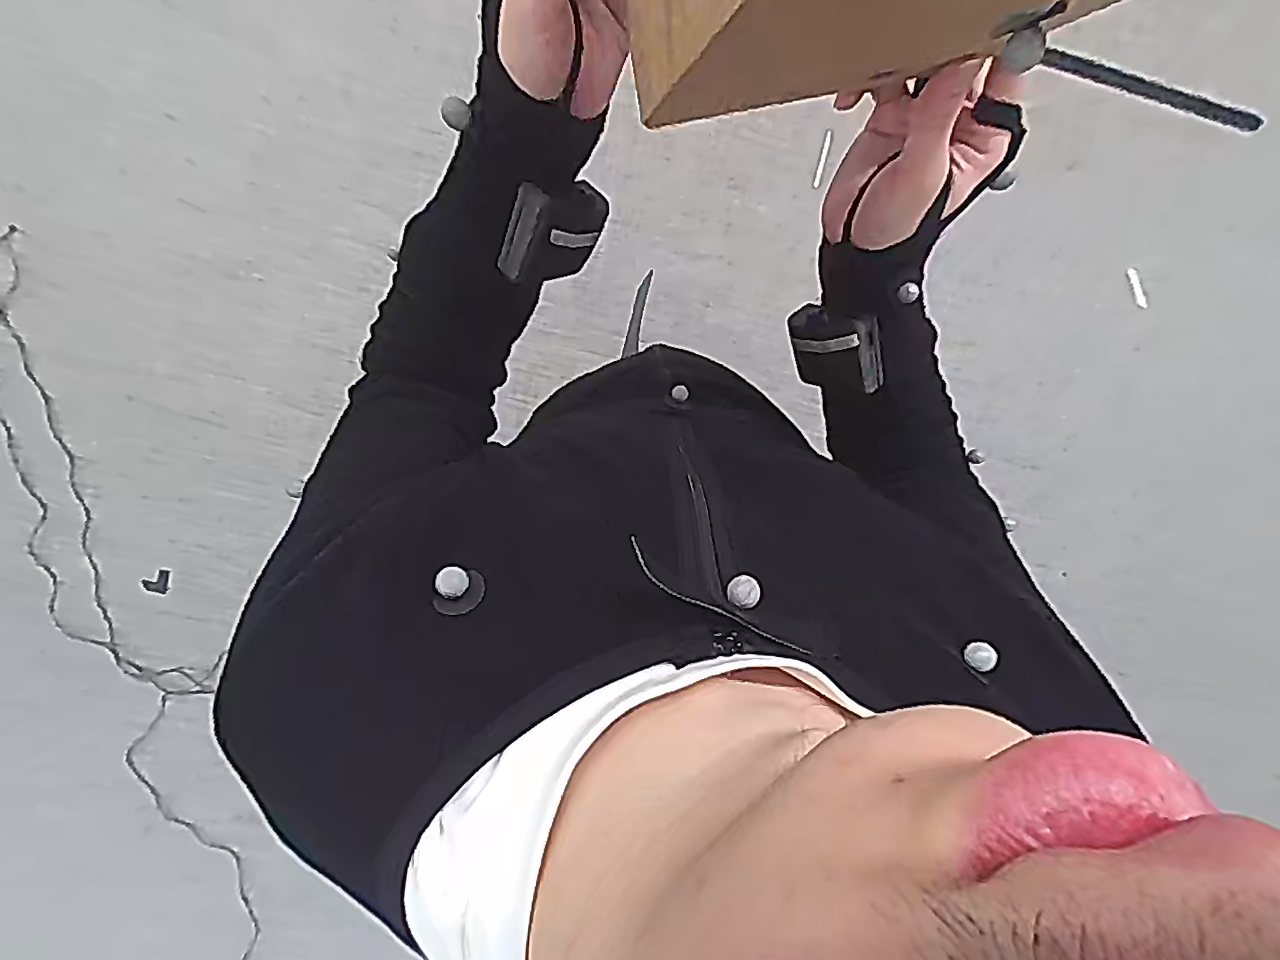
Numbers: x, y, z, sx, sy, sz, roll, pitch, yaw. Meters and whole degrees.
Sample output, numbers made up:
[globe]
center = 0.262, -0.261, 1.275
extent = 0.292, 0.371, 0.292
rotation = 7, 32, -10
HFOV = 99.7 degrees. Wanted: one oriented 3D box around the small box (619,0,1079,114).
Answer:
[small box]
center = 0.074, -0.232, 0.159
extent = 0.168, 0.176, 0.179
rotation = -14, 114, -3
